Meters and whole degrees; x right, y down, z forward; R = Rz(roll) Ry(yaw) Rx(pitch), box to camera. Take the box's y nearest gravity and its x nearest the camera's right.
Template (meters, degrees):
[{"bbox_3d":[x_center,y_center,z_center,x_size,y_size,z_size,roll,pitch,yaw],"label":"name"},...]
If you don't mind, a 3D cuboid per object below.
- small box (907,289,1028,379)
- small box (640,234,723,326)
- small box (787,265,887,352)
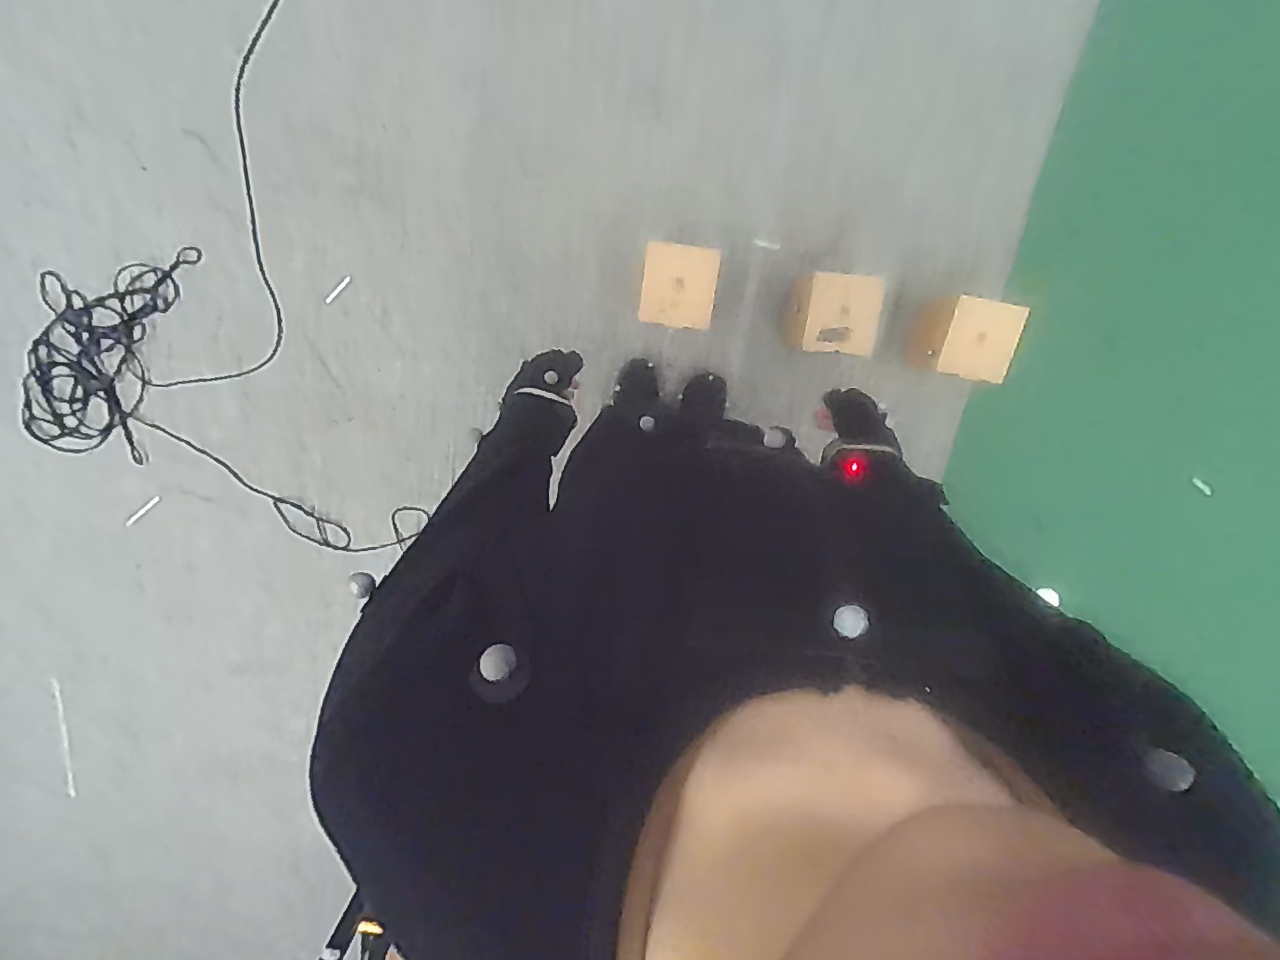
[{"bbox_3d":[0.781,-0.353,1.312,0.168,0.176,0.179,11,105,-1],"label":"small box"},{"bbox_3d":[0.092,-0.467,1.287,0.168,0.176,0.179,8,106,0],"label":"small box"},{"bbox_3d":[0.462,-0.406,1.300,0.168,0.176,0.179,5,104,-1],"label":"small box"}]
